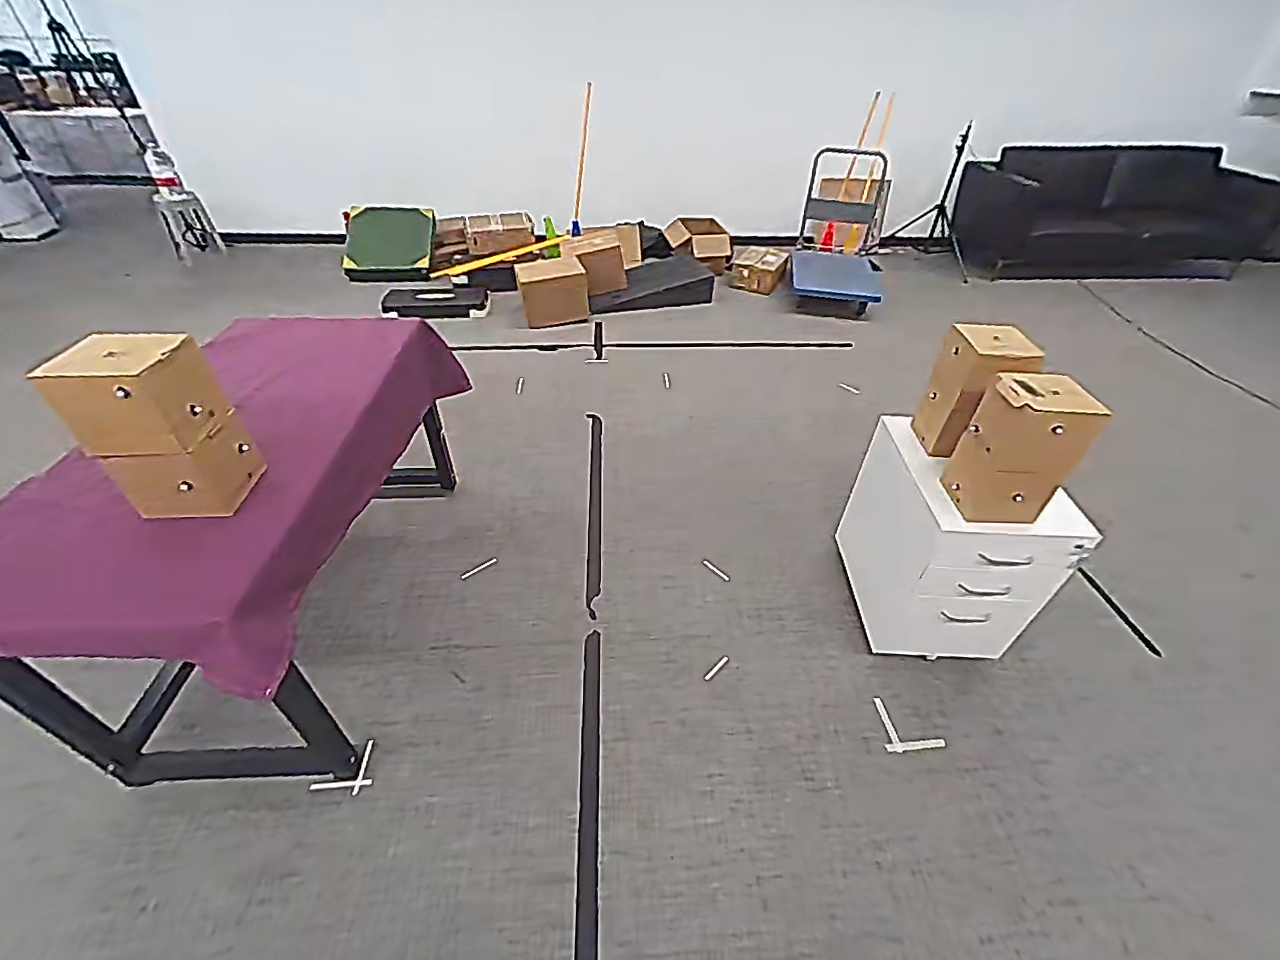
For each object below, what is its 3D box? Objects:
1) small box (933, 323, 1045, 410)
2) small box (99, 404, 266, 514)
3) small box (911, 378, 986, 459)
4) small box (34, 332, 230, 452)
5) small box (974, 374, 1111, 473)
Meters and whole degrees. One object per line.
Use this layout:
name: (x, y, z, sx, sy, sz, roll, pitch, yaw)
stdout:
small box: (0.922, -0.302, 1.451, 0.168, 0.176, 0.179, 3, 41, 1)
small box: (-0.922, -0.042, 1.116, 0.179, 0.176, 0.168, -1, 40, -3)
small box: (0.921, -0.176, 1.559, 0.179, 0.176, 0.168, 4, 41, 1)
small box: (-0.924, -0.163, 1.008, 0.179, 0.176, 0.168, -2, 40, -6)
small box: (0.912, -0.130, 1.254, 0.179, 0.176, 0.168, 2, 41, -1)
